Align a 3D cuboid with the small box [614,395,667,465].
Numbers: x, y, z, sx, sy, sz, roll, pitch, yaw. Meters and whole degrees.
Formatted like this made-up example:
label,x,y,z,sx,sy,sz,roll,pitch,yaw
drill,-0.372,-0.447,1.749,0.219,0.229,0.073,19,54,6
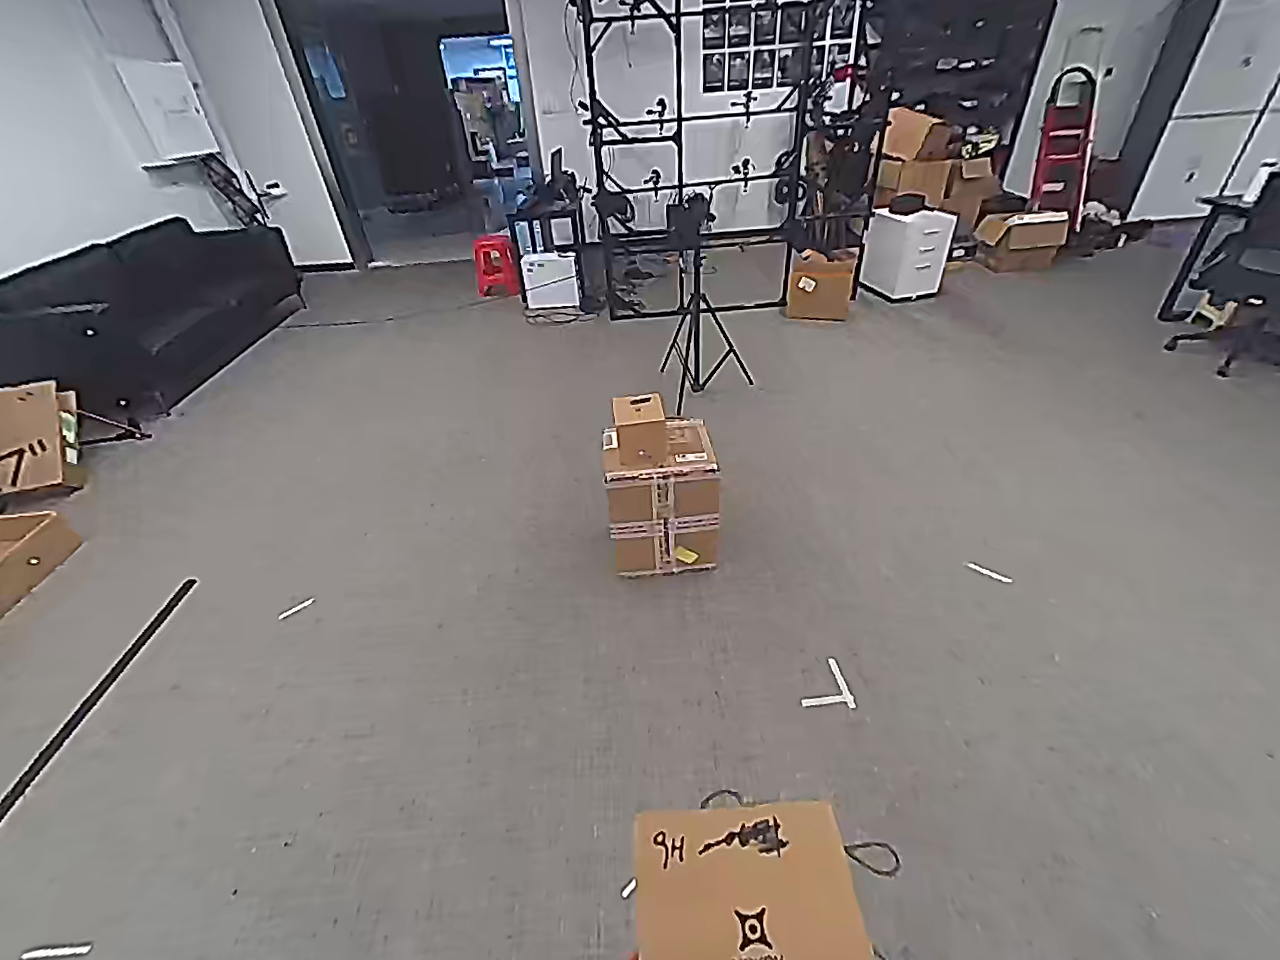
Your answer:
label,x,y,z,sx,sy,sz,roll,pitch,yaw
small box,0.000,-0.173,1.869,0.168,0.176,0.179,-7,40,-2
